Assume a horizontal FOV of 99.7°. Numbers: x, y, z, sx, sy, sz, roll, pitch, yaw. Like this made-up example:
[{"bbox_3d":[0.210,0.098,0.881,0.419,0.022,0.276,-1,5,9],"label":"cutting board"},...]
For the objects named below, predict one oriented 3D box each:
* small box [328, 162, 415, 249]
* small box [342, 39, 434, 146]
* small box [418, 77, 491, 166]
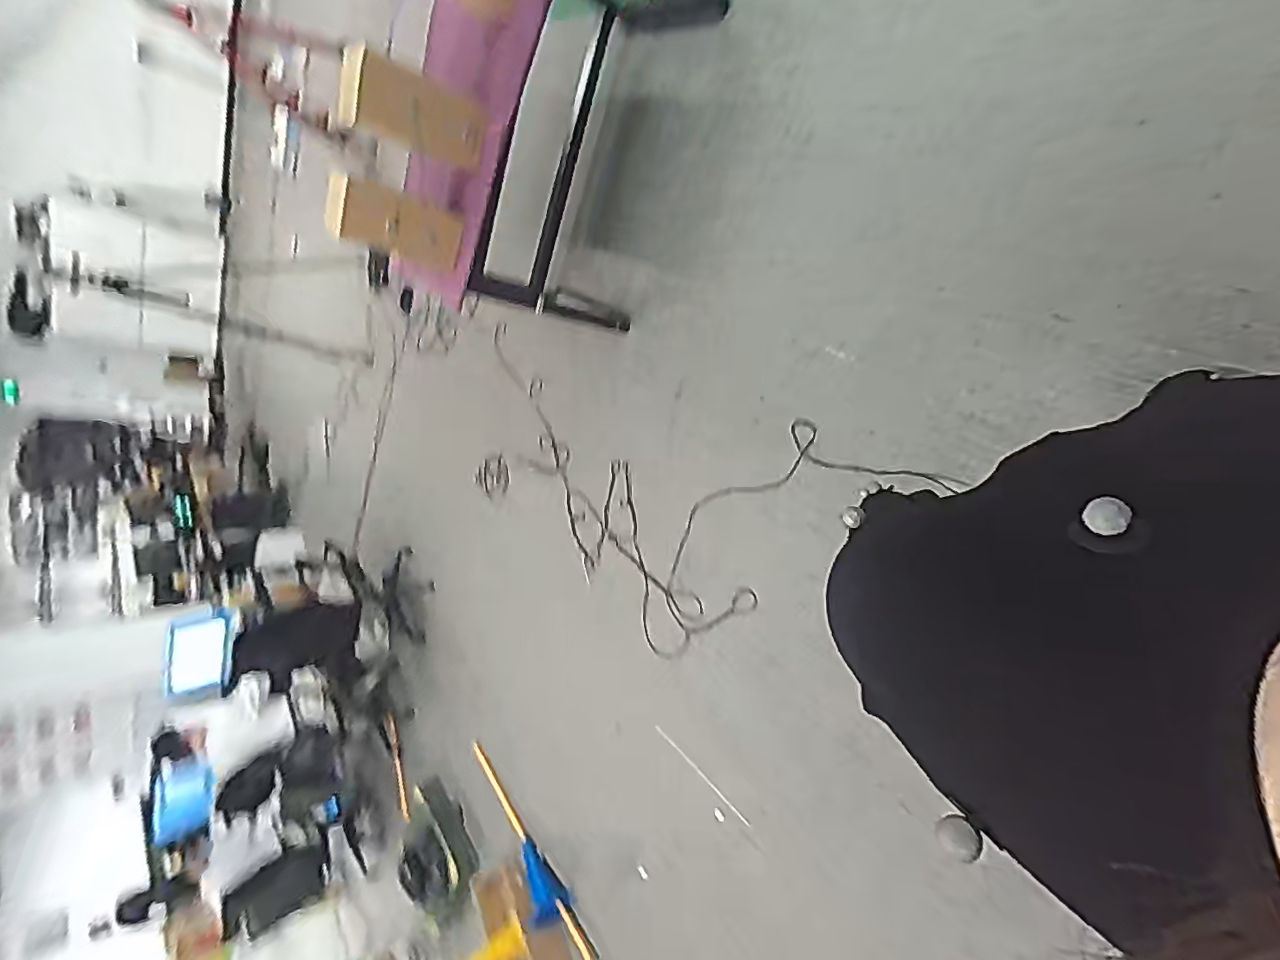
[{"bbox_3d":[-0.769,-0.779,1.545,0.179,0.176,0.168,39,117,38],"label":"small box"},{"bbox_3d":[-0.673,-1.029,1.449,0.168,0.176,0.179,34,113,41],"label":"small box"},{"bbox_3d":[-0.557,-1.031,1.565,0.179,0.176,0.168,34,114,40],"label":"small box"}]
